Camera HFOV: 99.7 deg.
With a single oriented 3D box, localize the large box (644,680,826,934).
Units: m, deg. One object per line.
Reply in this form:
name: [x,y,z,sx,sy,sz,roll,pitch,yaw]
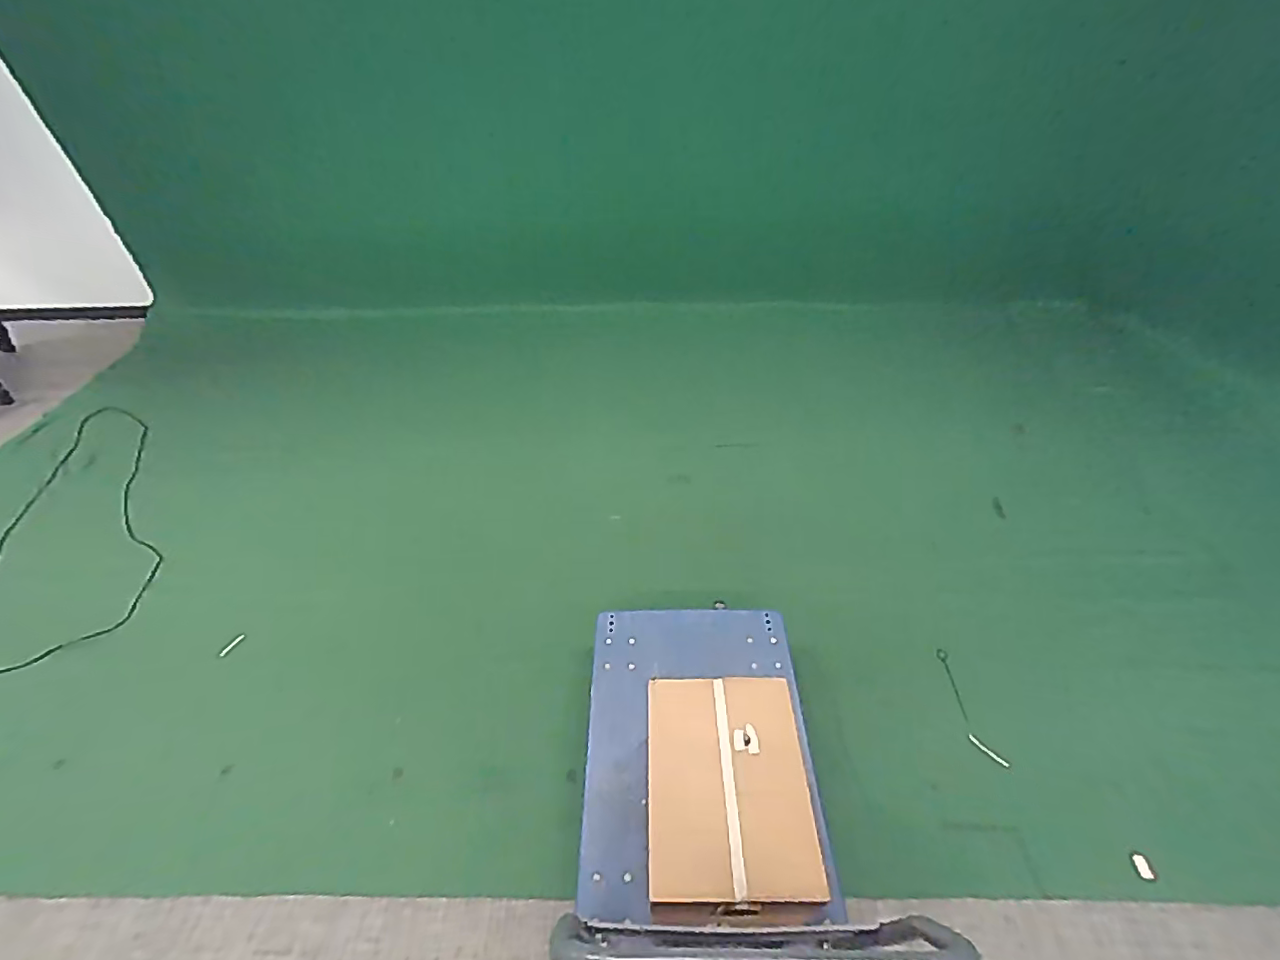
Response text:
large box: [0.171,0.700,1.173,0.320,0.320,0.408,-1,42,0]
